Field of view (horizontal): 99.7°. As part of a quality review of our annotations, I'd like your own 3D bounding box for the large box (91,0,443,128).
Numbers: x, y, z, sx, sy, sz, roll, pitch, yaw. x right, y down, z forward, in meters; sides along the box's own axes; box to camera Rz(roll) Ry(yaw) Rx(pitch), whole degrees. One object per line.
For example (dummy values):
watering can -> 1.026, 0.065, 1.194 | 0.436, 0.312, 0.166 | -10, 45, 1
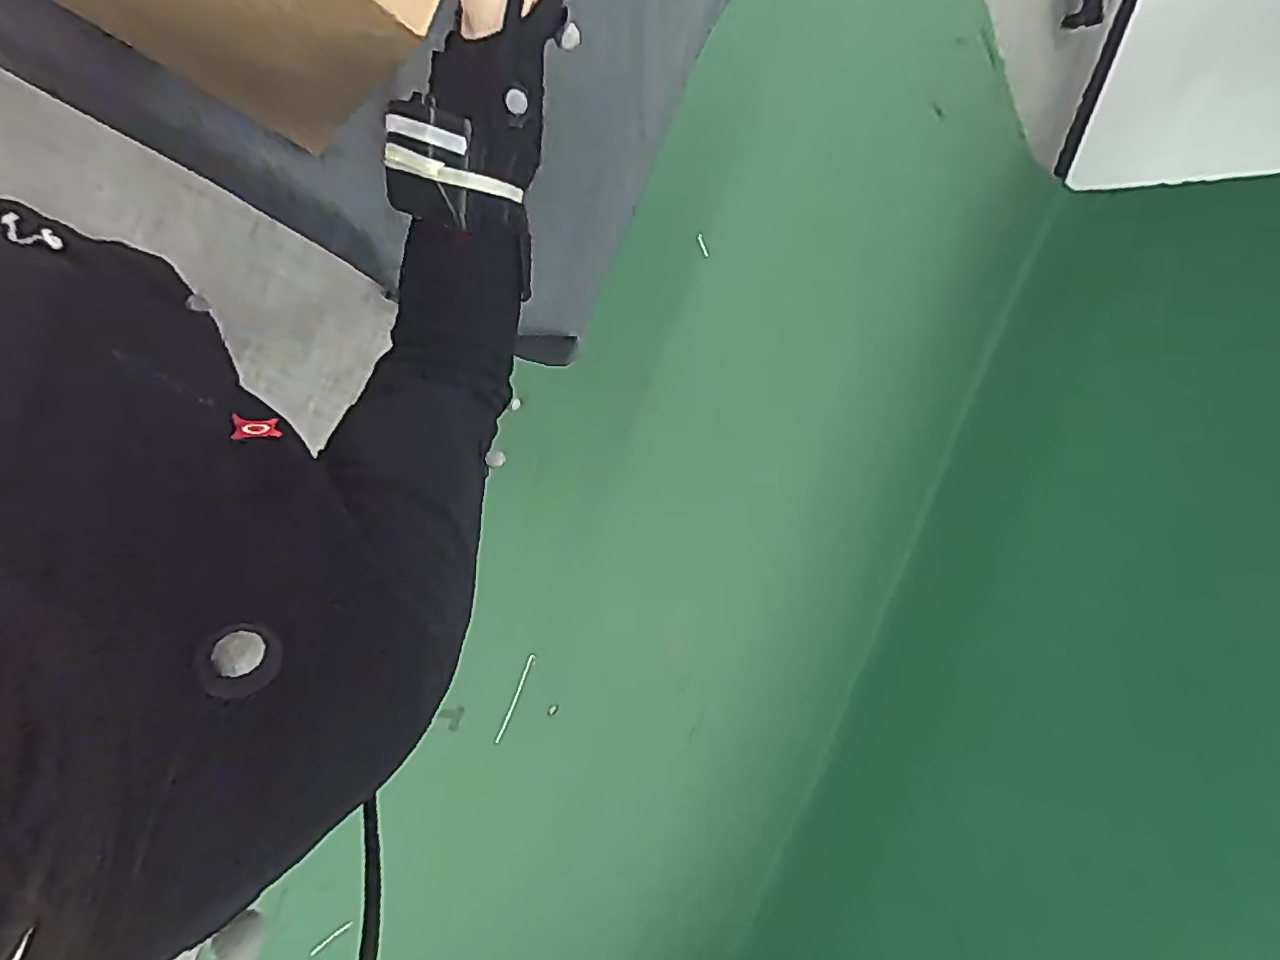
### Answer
large box -> -0.302, -0.479, 0.271 | 0.408, 0.320, 0.320 | 18, 93, -44
